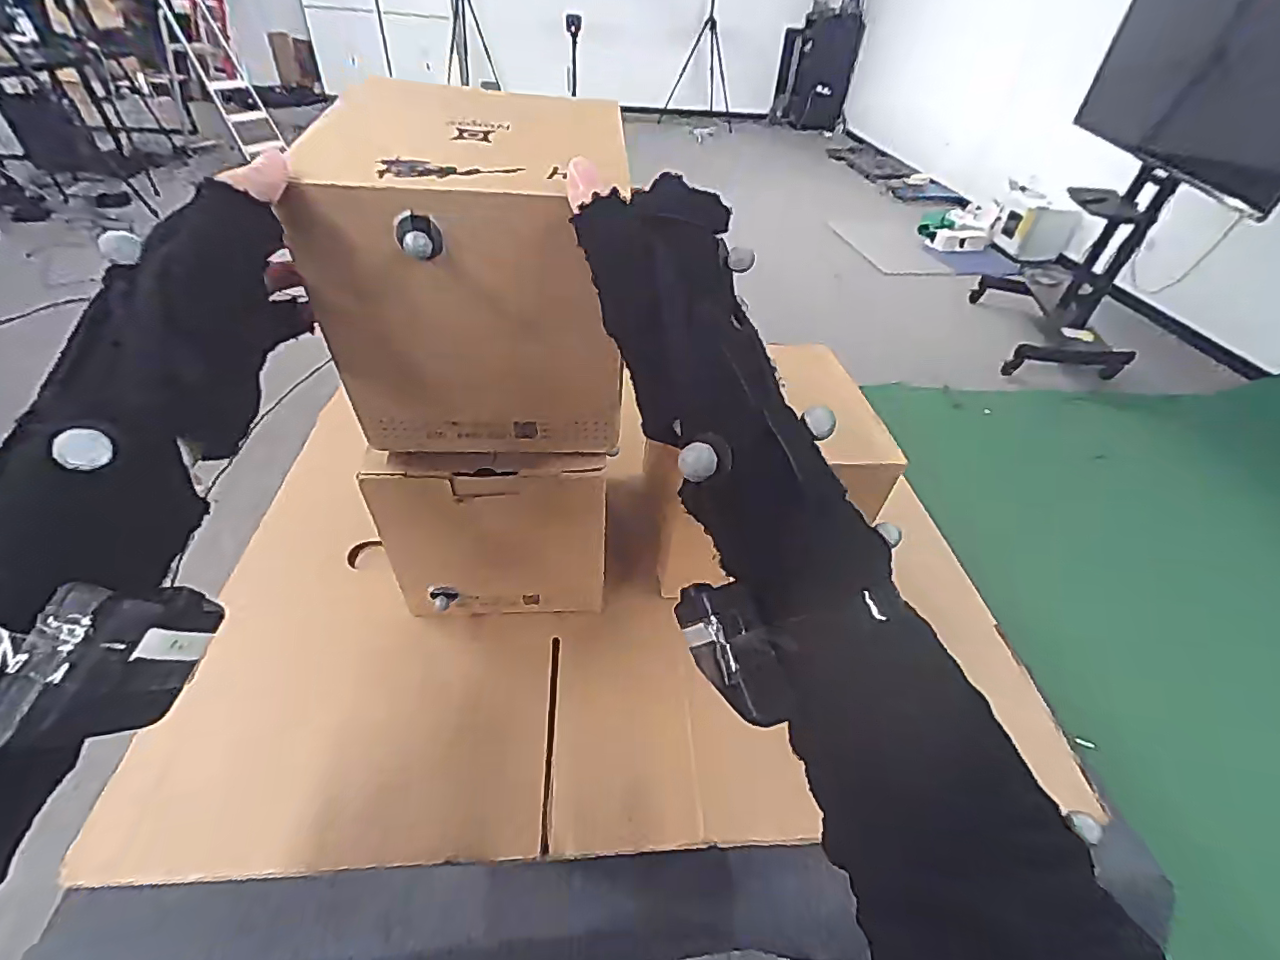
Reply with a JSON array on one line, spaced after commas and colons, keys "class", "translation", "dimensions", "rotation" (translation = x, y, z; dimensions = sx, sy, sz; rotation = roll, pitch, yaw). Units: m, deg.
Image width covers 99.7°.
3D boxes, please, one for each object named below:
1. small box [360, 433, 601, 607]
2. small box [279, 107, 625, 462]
[{"class": "small box", "translation": [-0.118, 0.000, 0.485], "dimensions": [0.168, 0.176, 0.179], "rotation": [0, 43, -5]}, {"class": "small box", "translation": [-0.098, -0.133, 0.372], "dimensions": [0.168, 0.176, 0.179], "rotation": [0, 46, -5]}]
